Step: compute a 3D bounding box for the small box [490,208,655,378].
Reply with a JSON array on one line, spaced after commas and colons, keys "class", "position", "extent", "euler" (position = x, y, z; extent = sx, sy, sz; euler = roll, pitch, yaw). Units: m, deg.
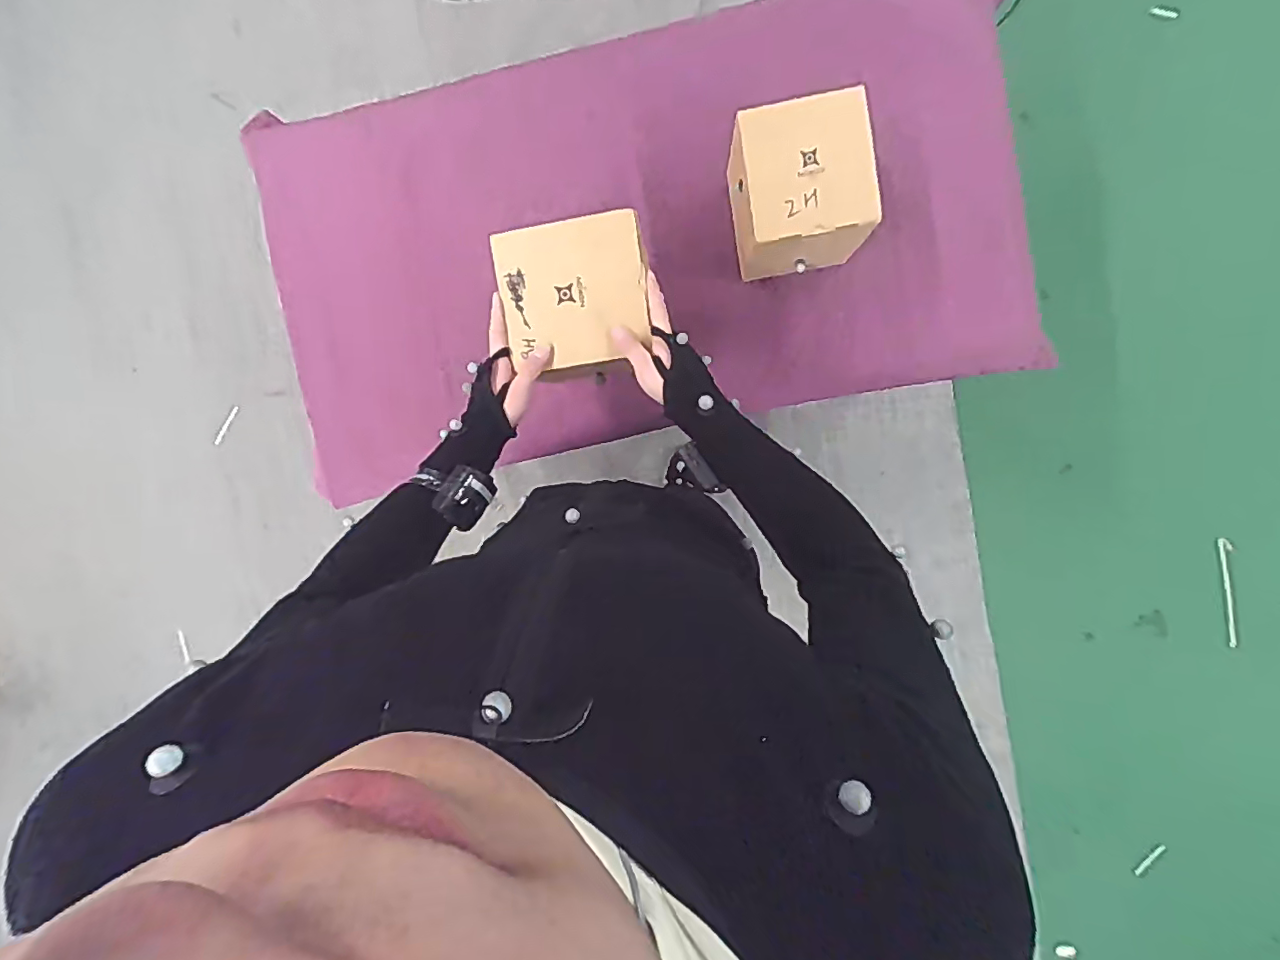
[{"class": "small box", "position": [-0.074, -0.229, 0.704], "extent": [0.179, 0.176, 0.168], "euler": [-7, 96, 5]}]

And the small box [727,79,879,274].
[{"class": "small box", "position": [0.223, -0.422, 0.780], "extent": [0.168, 0.176, 0.179], "euler": [-9, 93, 5]}]
